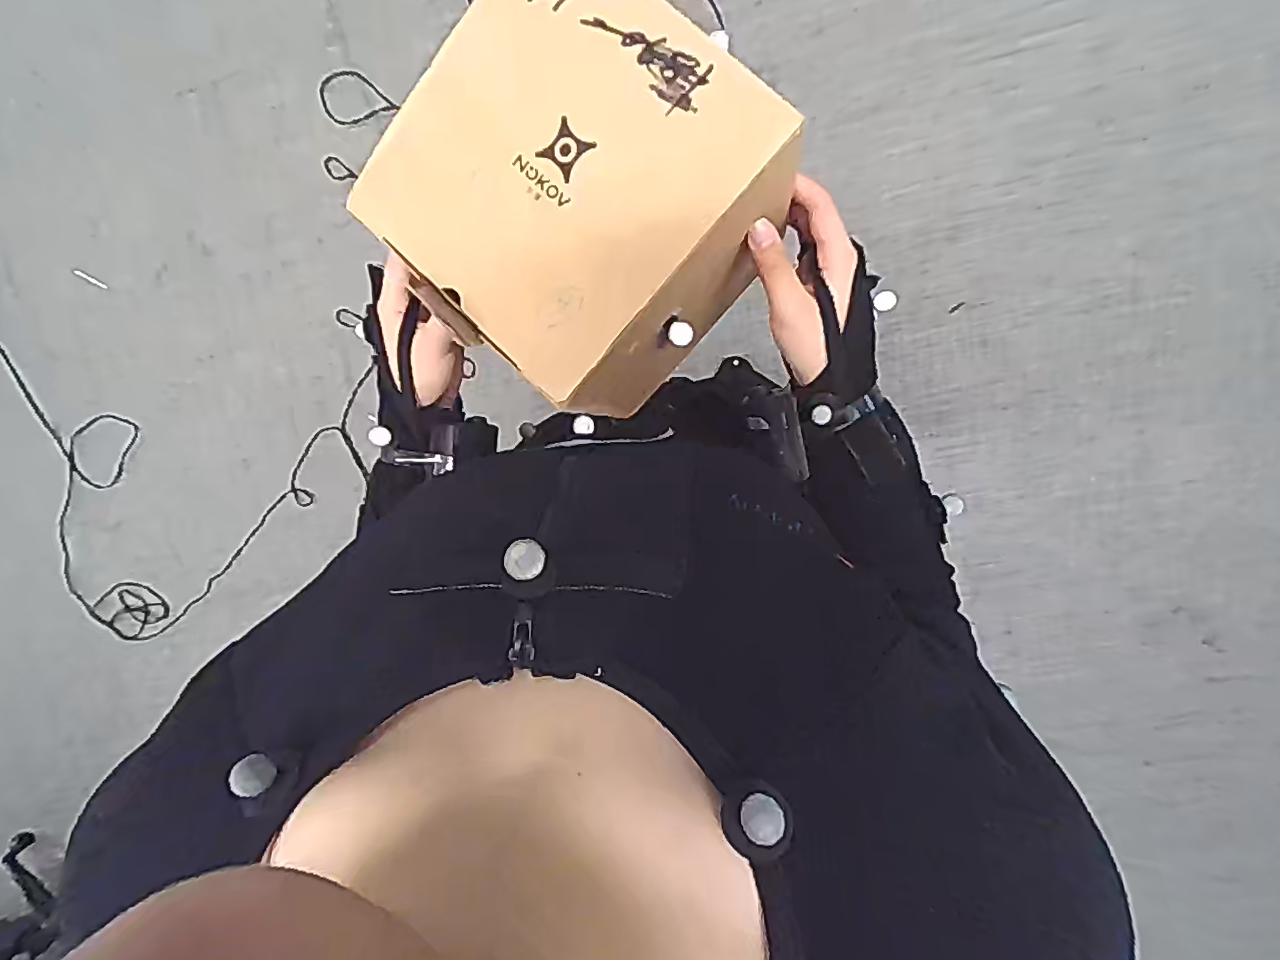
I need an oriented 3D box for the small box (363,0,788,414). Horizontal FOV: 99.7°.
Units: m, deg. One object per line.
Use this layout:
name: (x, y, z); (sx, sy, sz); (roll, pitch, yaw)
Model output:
small box: (-0.025, -0.157, 0.354); (0.168, 0.176, 0.179); (43, 101, 5)
